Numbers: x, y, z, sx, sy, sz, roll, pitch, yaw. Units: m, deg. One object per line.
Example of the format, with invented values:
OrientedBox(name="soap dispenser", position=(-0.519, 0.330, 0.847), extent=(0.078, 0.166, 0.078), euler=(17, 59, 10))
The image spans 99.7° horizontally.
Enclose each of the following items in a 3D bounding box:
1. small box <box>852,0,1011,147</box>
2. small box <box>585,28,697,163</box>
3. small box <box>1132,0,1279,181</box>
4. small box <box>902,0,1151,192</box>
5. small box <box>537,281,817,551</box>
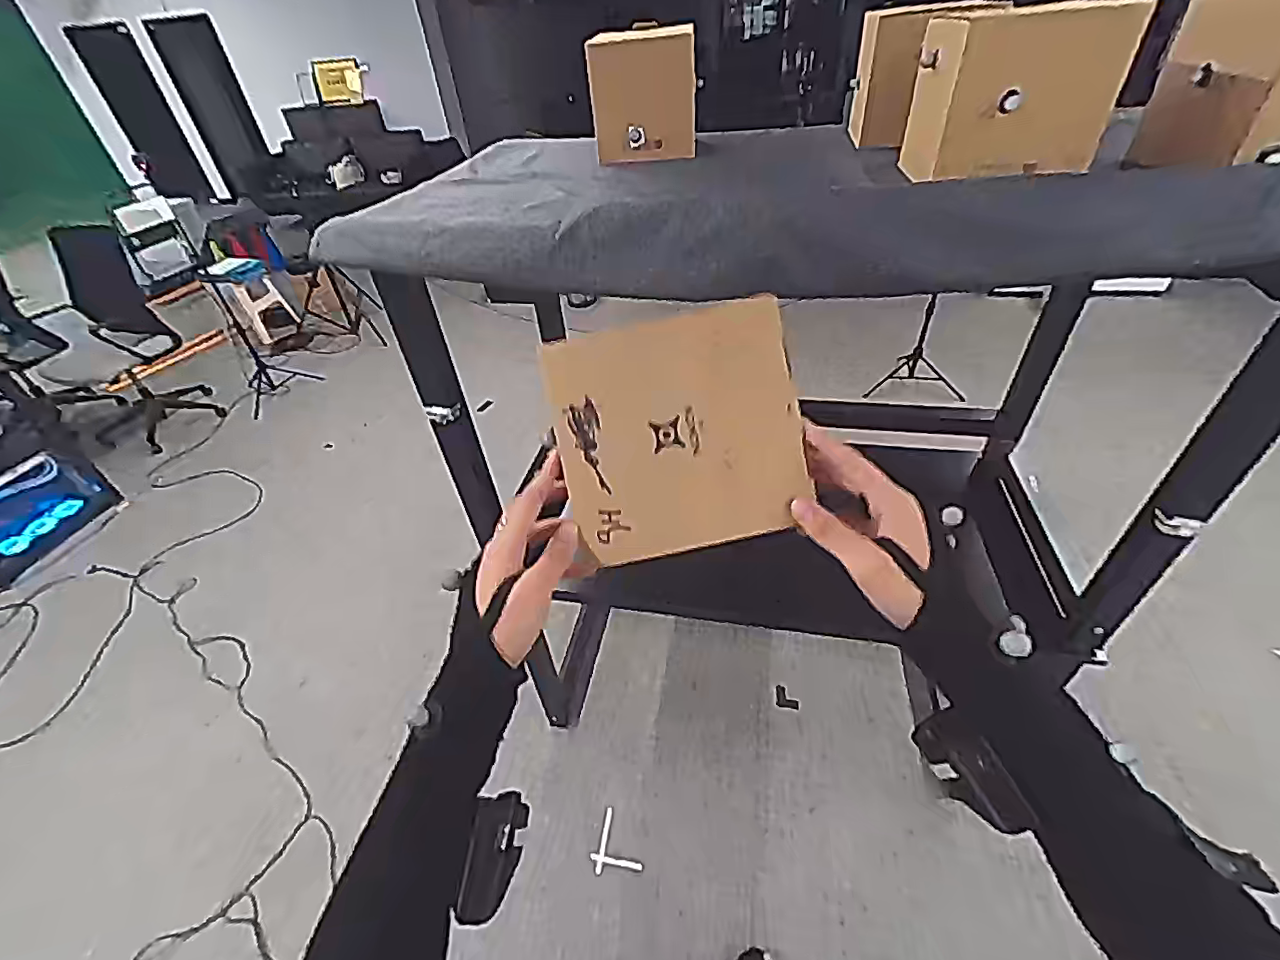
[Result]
OrientedBox(name="small box", position=(0.438, -0.637, 0.852), extent=(0.179, 0.176, 0.168), euler=(4, 42, 12))
OrientedBox(name="small box", position=(0.011, -0.653, 0.922), extent=(0.168, 0.176, 0.179), euler=(-1, 41, 7))
OrientedBox(name="small box", position=(0.692, -0.426, 0.572), extent=(0.168, 0.176, 0.179), euler=(0, 40, 8))
OrientedBox(name="small box", position=(0.425, -0.447, 0.635), extent=(0.168, 0.176, 0.179), euler=(2, 40, 10))
OrientedBox(name="small box", position=(0.027, -0.048, 0.460), extent=(0.179, 0.168, 0.176), euler=(-12, 2, 1))
